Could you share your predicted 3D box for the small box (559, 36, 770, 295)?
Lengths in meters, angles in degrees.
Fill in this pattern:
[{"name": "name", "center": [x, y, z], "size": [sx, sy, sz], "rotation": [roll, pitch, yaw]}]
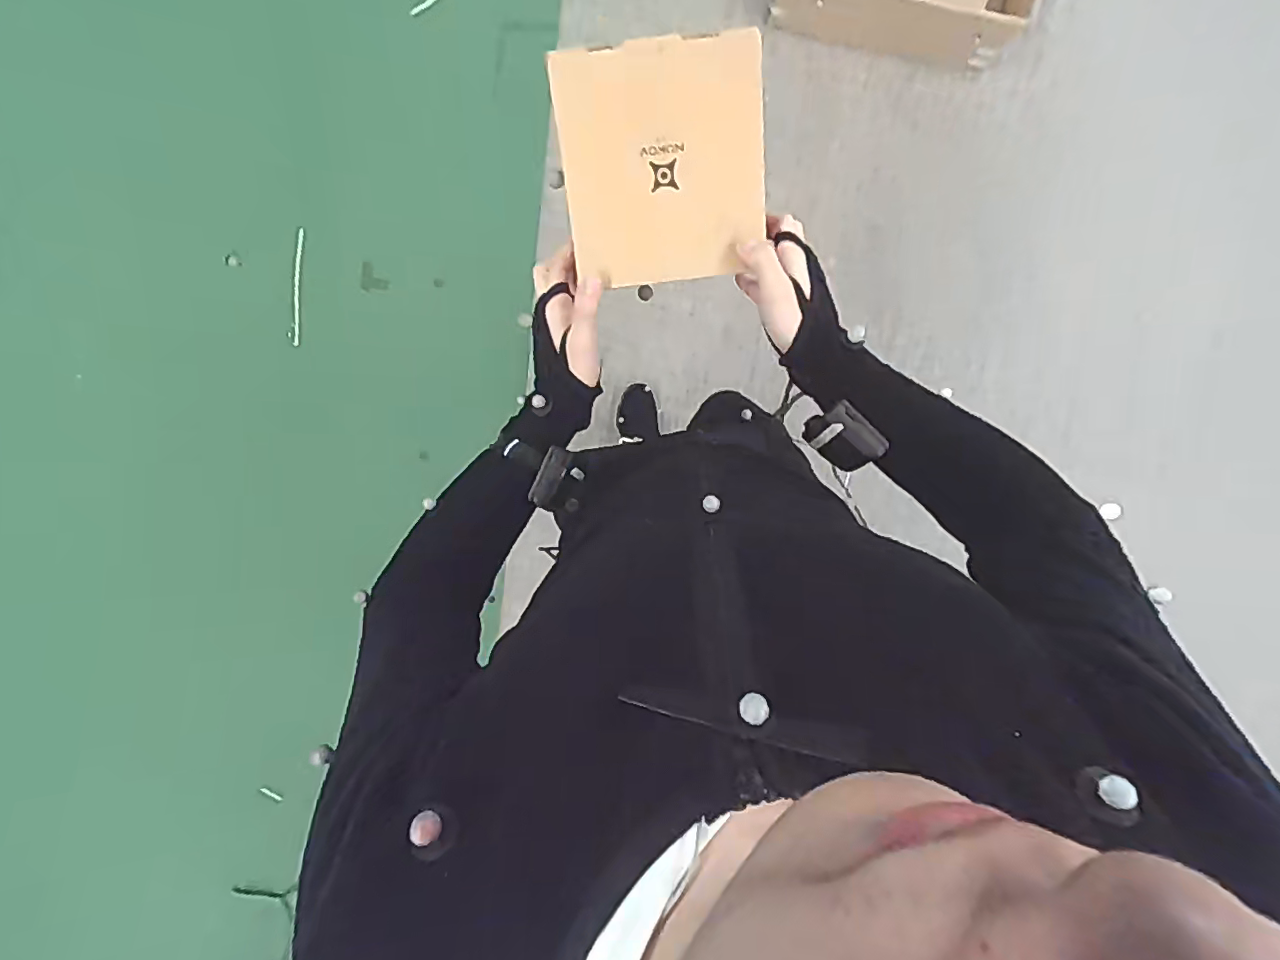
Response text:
[{"name": "small box", "center": [0.024, -0.276, 0.516], "size": [0.168, 0.176, 0.179], "rotation": [-6, 108, 1]}]
